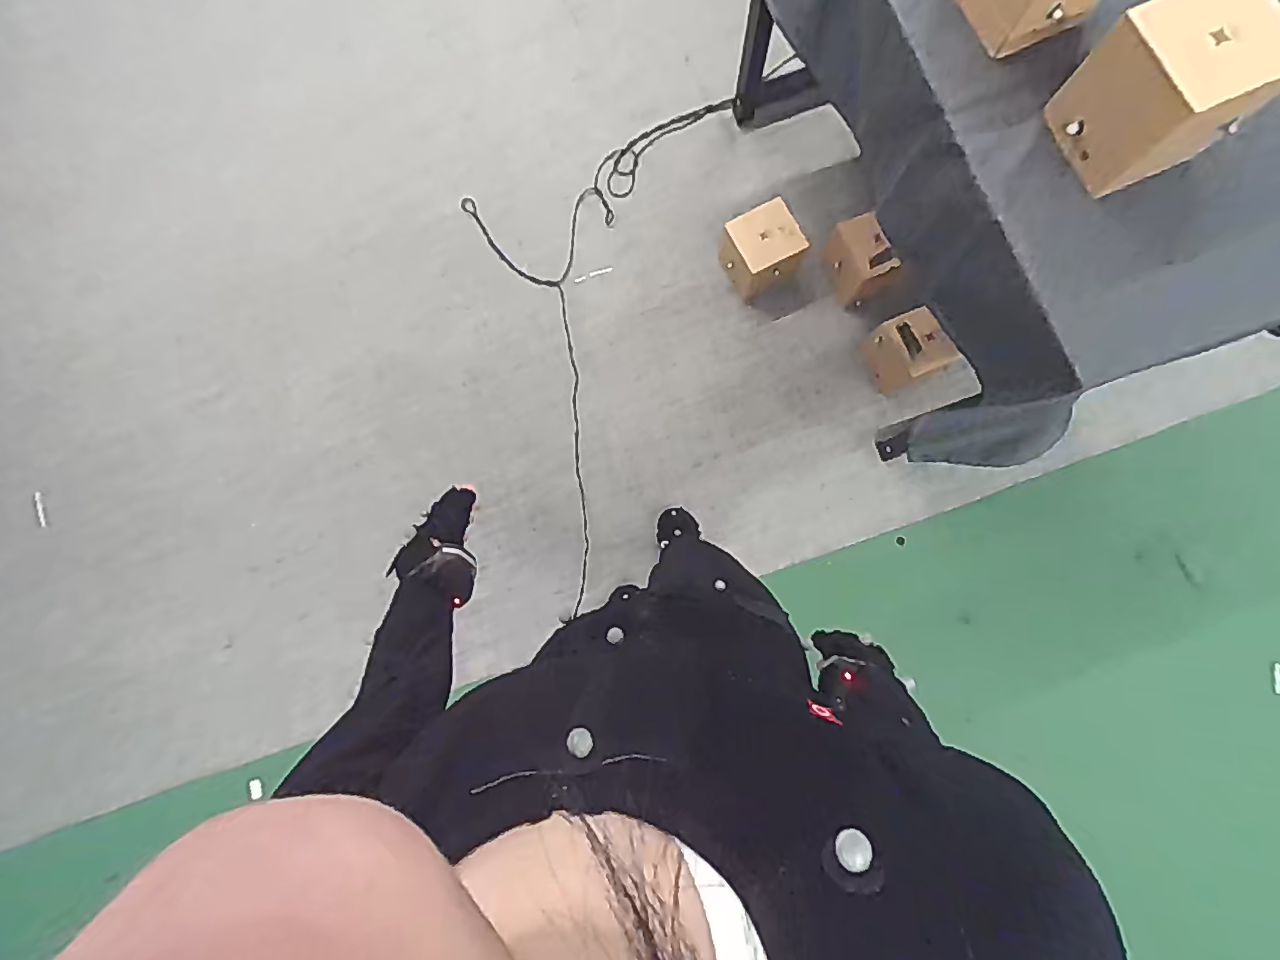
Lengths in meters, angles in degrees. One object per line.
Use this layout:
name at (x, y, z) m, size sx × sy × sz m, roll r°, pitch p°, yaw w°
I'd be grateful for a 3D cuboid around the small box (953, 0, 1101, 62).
small box at (0.597, -0.781, 0.796) m, size 0.168 × 0.176 × 0.179 m, roll -25°, pitch 83°, yaw -2°

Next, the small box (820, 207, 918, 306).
small box at (0.628, -0.608, 1.503) m, size 0.168 × 0.176 × 0.179 m, roll -22°, pitch 81°, yaw -1°

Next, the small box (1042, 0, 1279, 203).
small box at (0.730, -0.534, 0.758) m, size 0.179 × 0.176 × 0.168 m, roll -22°, pitch 81°, yaw -1°
